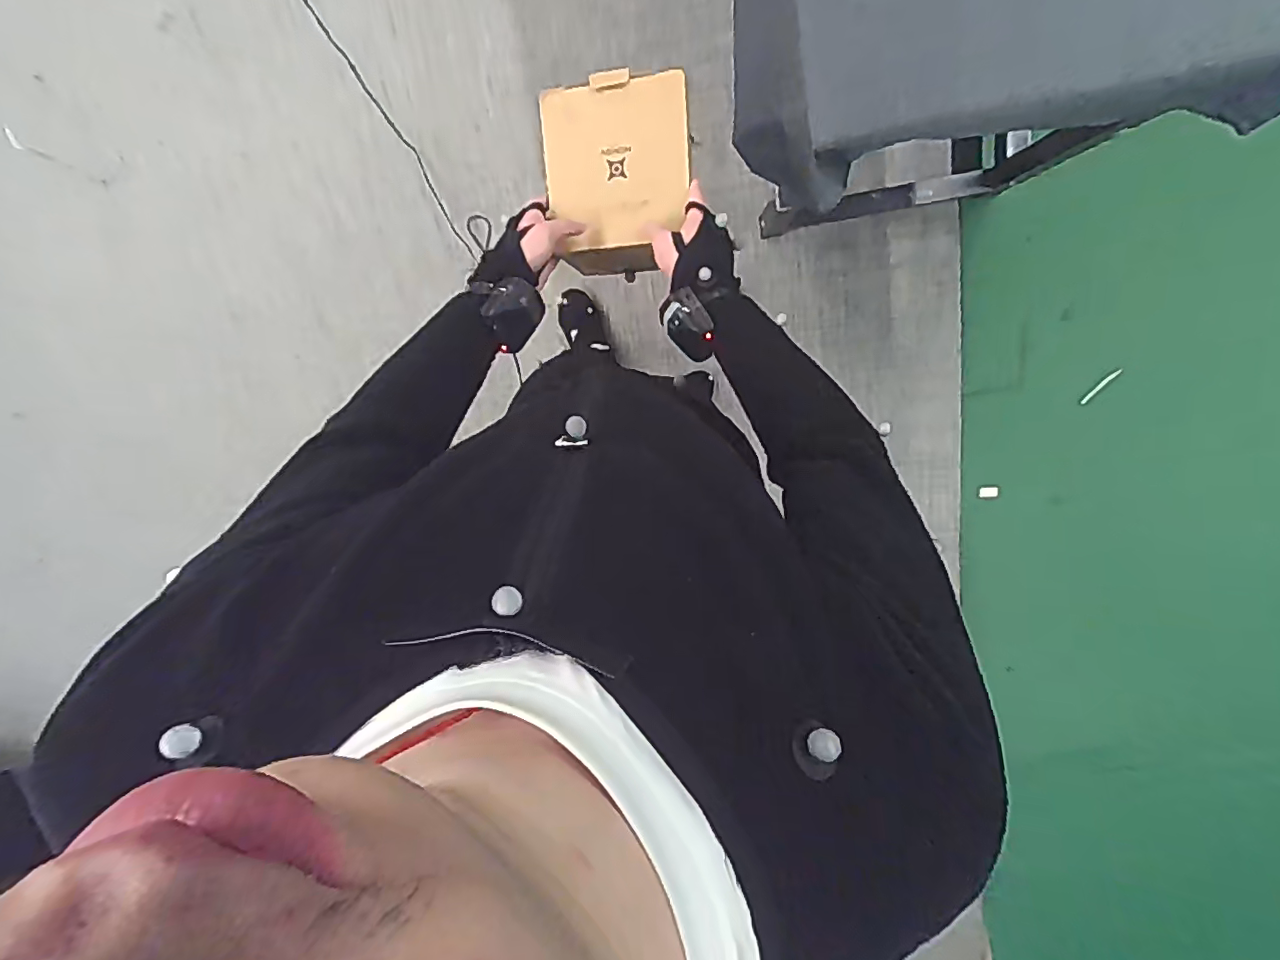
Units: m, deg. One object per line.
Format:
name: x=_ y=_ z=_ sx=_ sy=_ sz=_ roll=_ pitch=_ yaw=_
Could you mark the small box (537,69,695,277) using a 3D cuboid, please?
small box: x=-0.020 y=-0.363 z=0.673 sx=0.168 sy=0.176 sz=0.179 roll=0 pitch=101 yaw=10
